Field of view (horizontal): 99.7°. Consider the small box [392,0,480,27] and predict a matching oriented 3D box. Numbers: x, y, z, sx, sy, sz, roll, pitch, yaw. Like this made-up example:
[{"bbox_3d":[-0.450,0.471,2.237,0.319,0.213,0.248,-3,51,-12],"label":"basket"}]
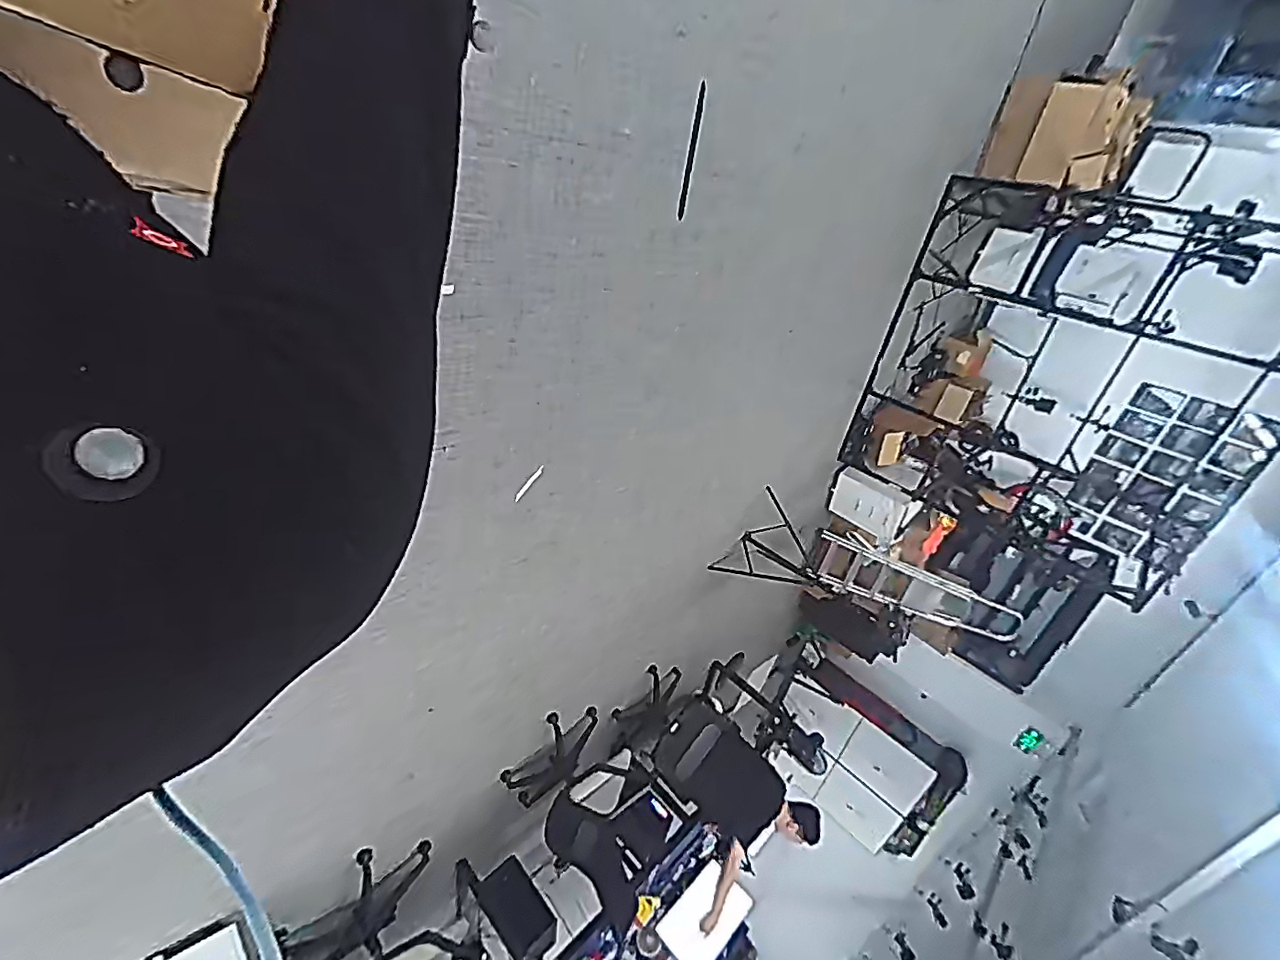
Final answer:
[{"bbox_3d":[-0.132,-0.325,0.200,0.168,0.176,0.179,-53,151,17],"label":"small box"}]
